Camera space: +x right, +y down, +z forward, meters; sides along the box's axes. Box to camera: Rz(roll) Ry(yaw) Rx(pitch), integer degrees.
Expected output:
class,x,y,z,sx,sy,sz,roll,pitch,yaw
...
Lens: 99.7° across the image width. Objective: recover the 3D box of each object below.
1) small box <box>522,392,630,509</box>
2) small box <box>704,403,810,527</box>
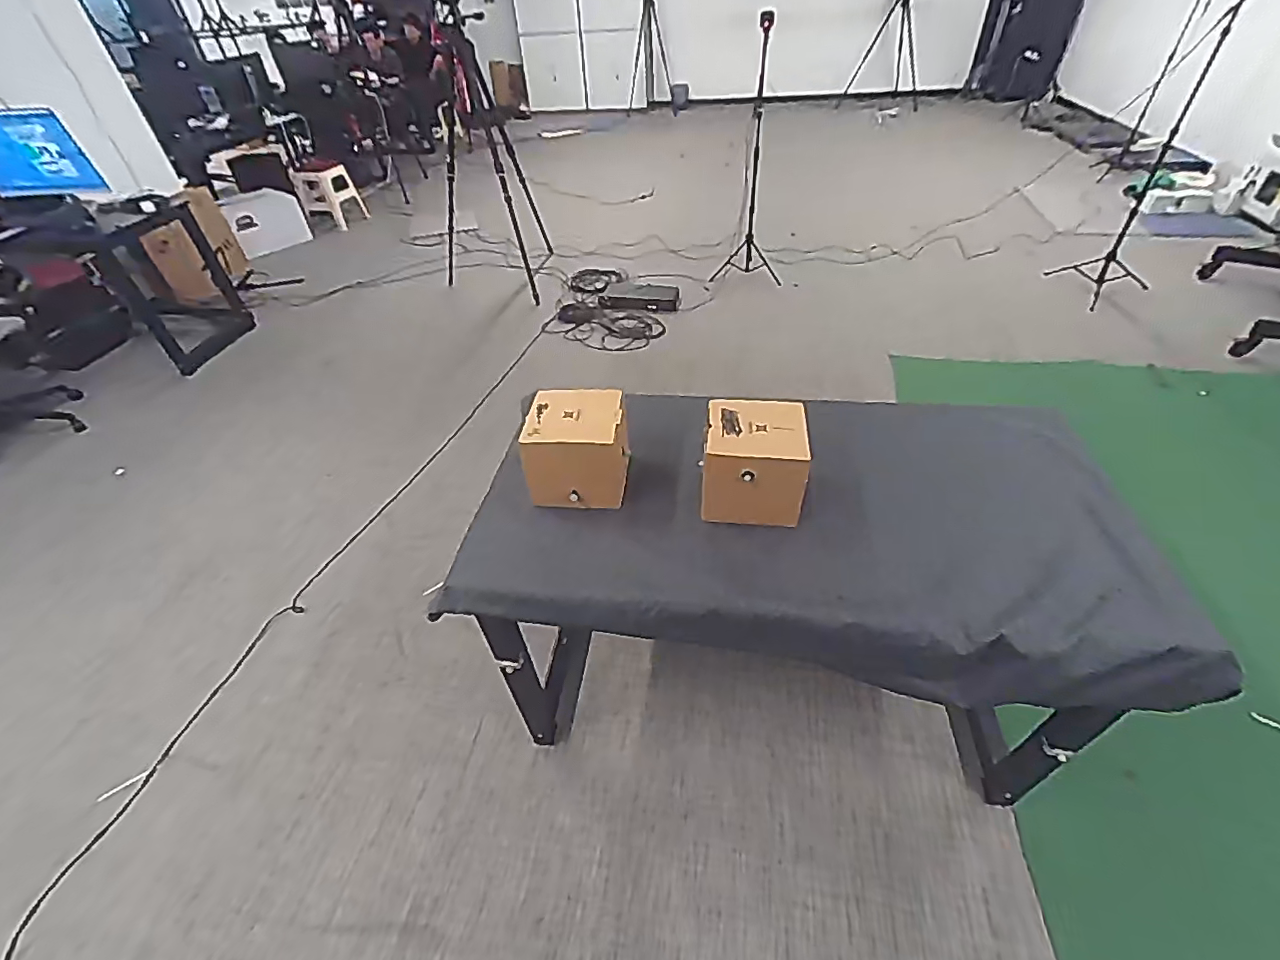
class,x,y,z,sx,sy,sz,roll,pitch,yaw
small box,-0.115,-0.056,1.071,0.179,0.176,0.168,2,43,5
small box,0.213,-0.028,1.016,0.179,0.176,0.168,4,43,8
